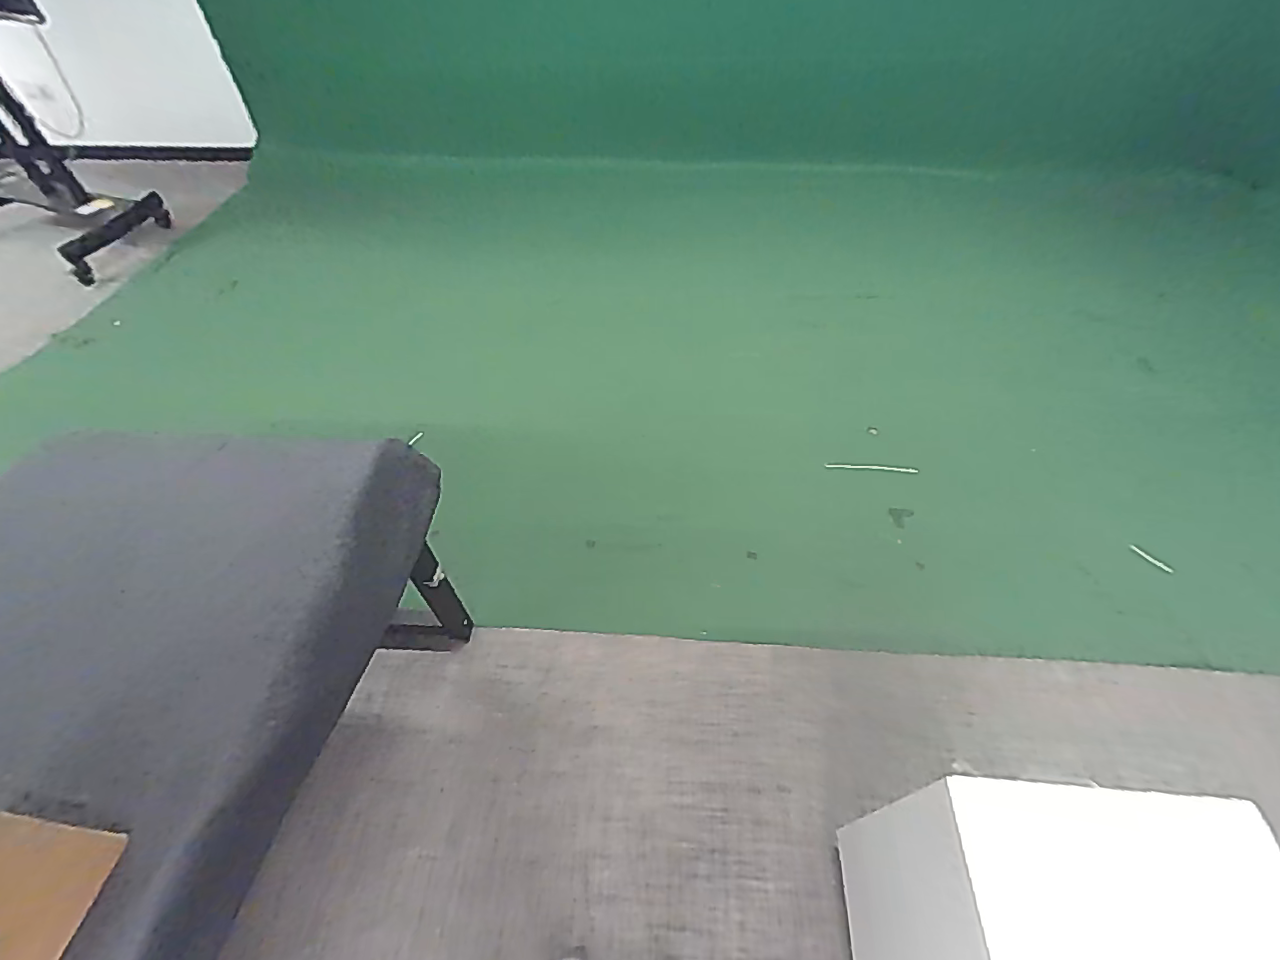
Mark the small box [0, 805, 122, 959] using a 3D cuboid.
[{"bbox_3d":[-0.641,0.391,0.480,0.168,0.176,0.179,4,52,5],"label":"small box"}]
